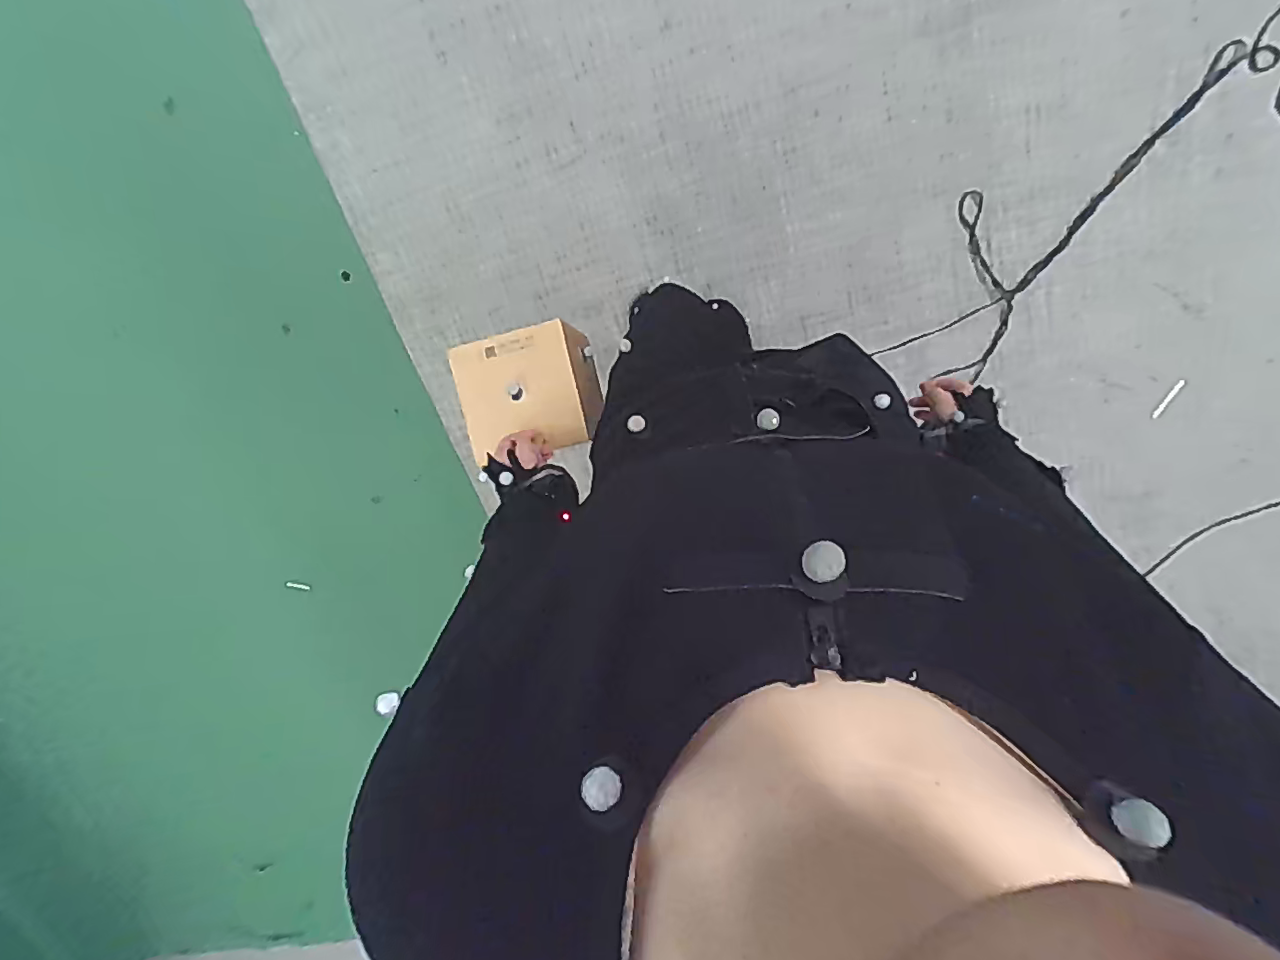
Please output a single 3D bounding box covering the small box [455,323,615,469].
[{"bbox_3d":[-0.150,-0.124,0.806,0.168,0.179,0.176,-13,95,9],"label":"small box"}]
